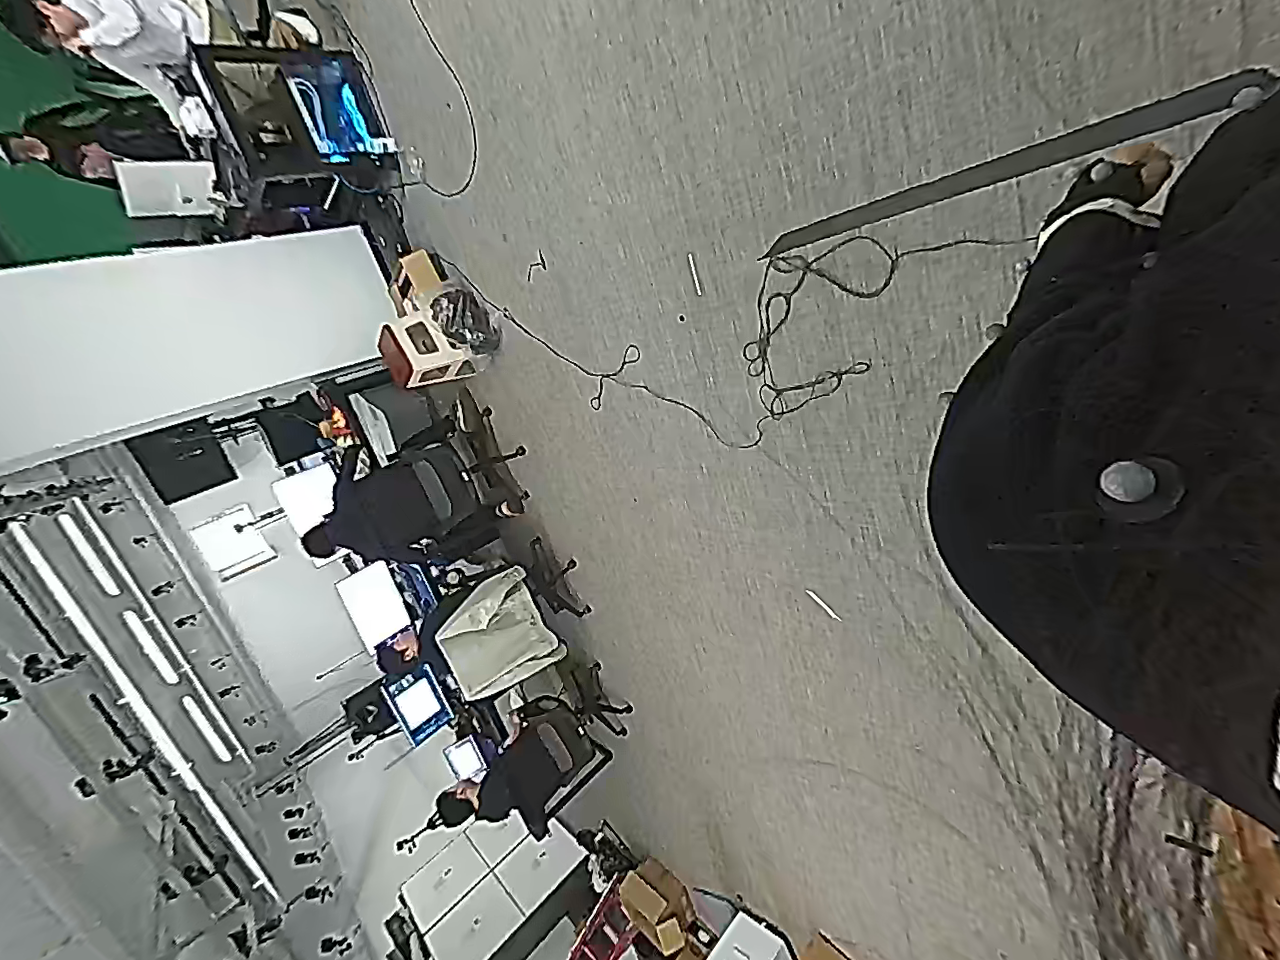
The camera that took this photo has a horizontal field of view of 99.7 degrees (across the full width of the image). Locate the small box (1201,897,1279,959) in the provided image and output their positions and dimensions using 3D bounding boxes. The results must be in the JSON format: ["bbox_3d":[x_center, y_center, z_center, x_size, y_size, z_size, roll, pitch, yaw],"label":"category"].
[{"bbox_3d":[1.257,1.010,1.093,0.168,0.176,0.179,5,117,48],"label":"small box"}]

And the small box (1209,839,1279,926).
[{"bbox_3d":[1.375,0.940,1.181,0.179,0.176,0.168,6,118,48],"label":"small box"}]

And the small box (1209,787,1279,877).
[{"bbox_3d":[1.486,0.874,1.283,0.179,0.176,0.168,2,116,49],"label":"small box"}]
